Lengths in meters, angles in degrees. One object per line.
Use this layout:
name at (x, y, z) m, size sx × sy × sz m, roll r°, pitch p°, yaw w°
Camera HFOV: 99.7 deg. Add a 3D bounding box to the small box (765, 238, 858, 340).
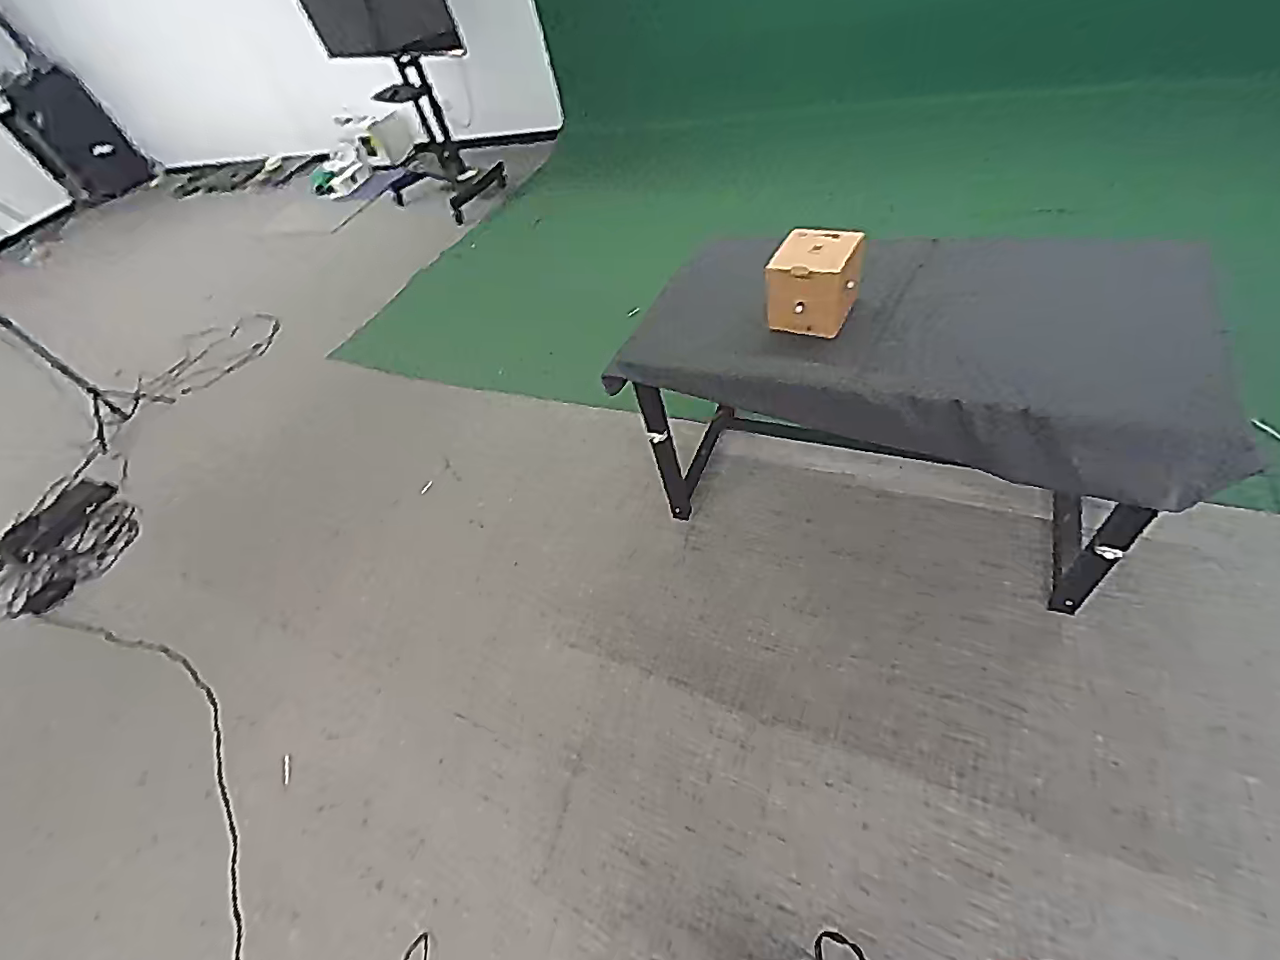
small box at (0.413, -0.455, 1.293) m, size 0.168 × 0.176 × 0.179 m, roll 15°, pitch 56°, yaw 28°
